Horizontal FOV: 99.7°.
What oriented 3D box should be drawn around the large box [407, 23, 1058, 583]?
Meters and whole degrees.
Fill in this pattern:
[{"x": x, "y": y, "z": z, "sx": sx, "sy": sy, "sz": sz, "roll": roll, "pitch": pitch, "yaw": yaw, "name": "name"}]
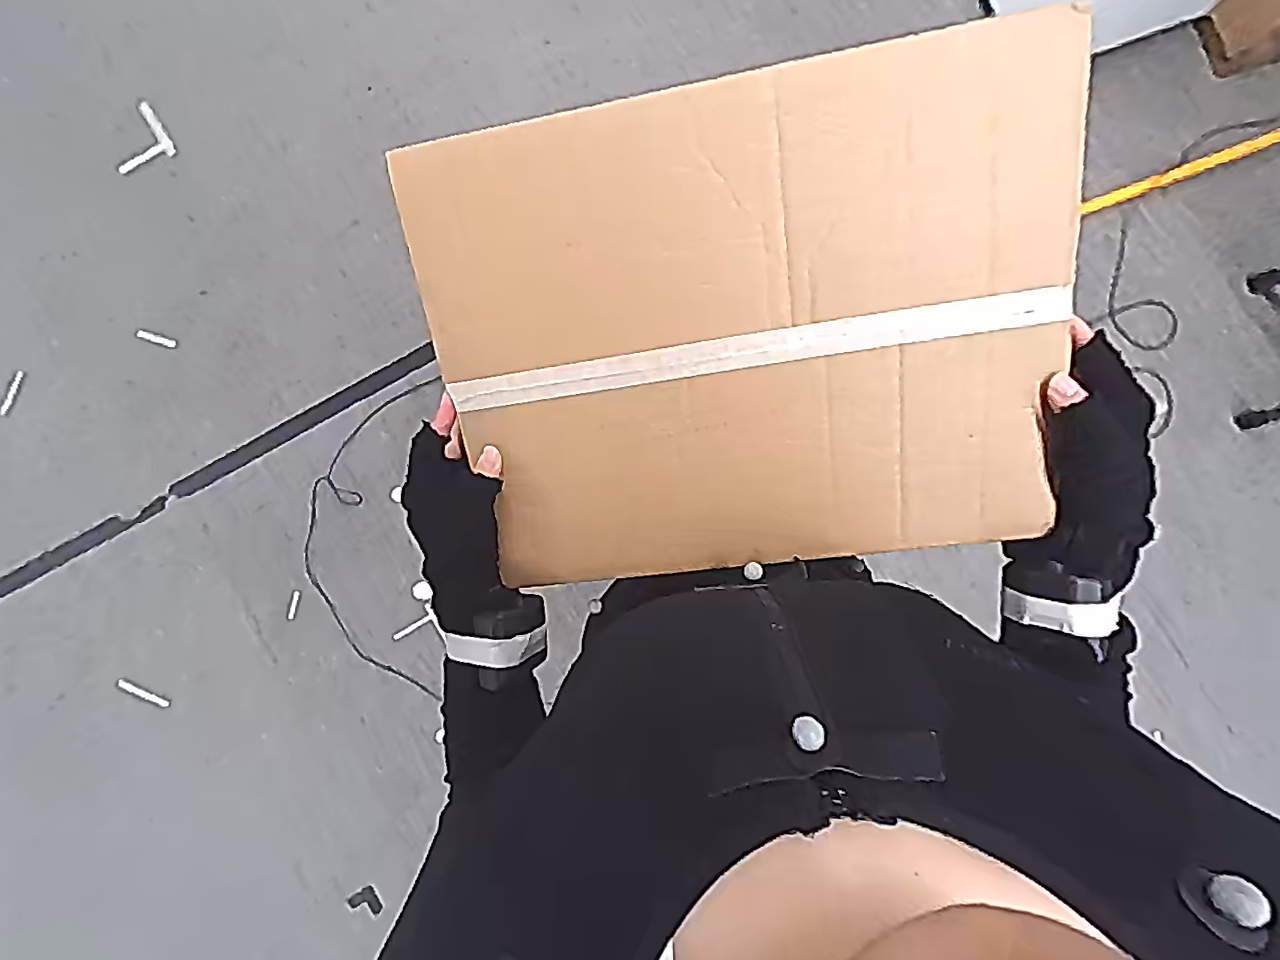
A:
[{"x": 0.075, "y": -0.130, "z": 0.511, "sx": 0.408, "sy": 0.320, "sz": 0.320, "roll": -7, "pitch": 108, "yaw": 7, "name": "large box"}]
